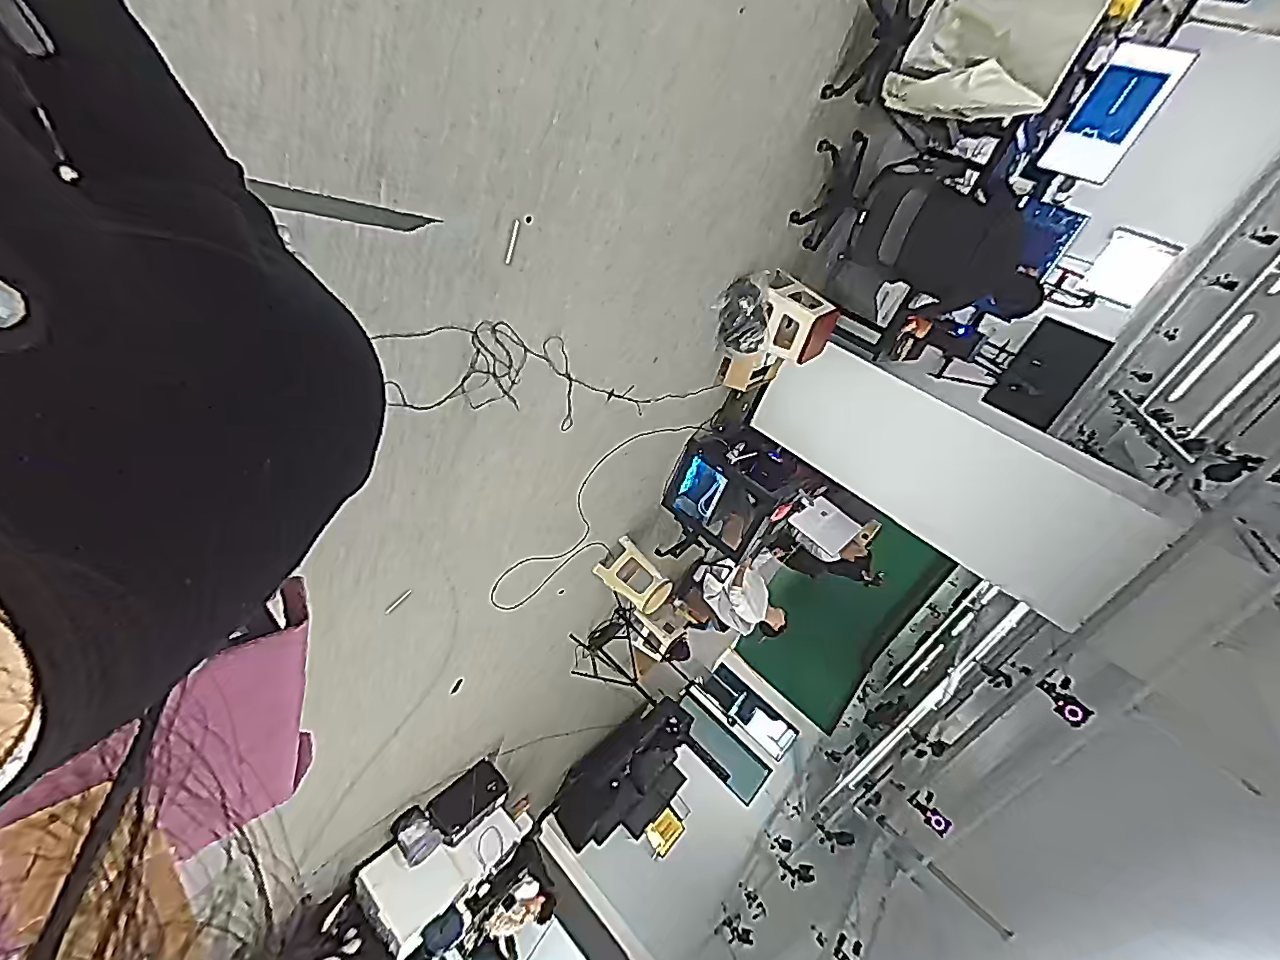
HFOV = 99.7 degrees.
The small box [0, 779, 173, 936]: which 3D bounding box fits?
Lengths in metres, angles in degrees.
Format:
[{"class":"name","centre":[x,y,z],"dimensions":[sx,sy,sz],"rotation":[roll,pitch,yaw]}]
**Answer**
[{"class":"small box","centre":[-0.899,0.632,0.886],"dimensions":[0.168,0.176,0.179],"rotation":[-17,139,-52]}]

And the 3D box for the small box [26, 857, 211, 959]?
[{"class":"small box","centre":[-0.783,0.729,0.821],"dimensions":[0.168,0.176,0.179],"rotation":[-18,140,-51]}]
